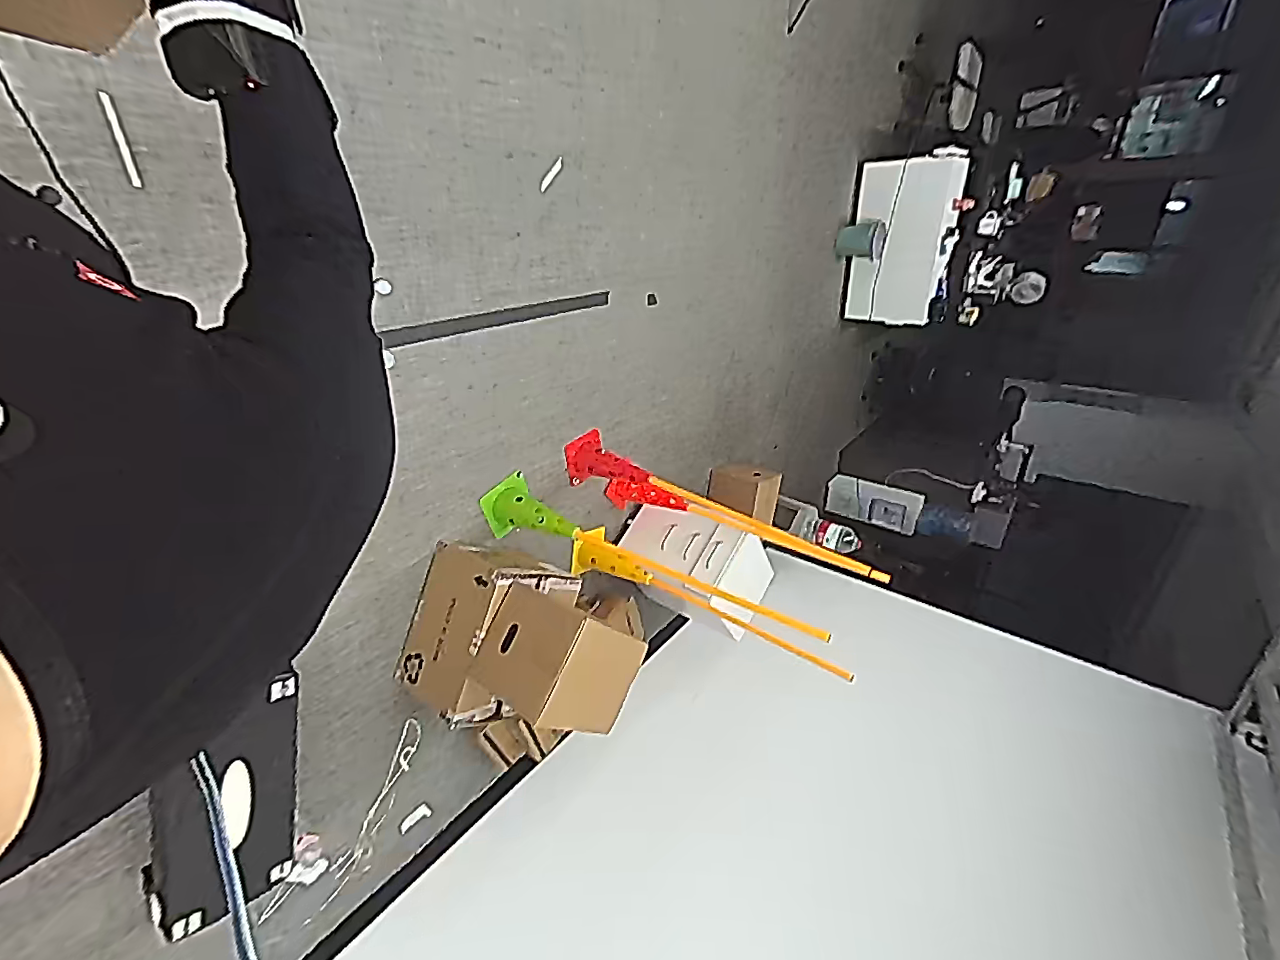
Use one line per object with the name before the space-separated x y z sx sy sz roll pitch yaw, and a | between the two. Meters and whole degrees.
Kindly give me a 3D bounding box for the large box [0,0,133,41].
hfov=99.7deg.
large box | -0.524 -0.469 0.235 0.408 0.320 0.320 -20 122 -46
